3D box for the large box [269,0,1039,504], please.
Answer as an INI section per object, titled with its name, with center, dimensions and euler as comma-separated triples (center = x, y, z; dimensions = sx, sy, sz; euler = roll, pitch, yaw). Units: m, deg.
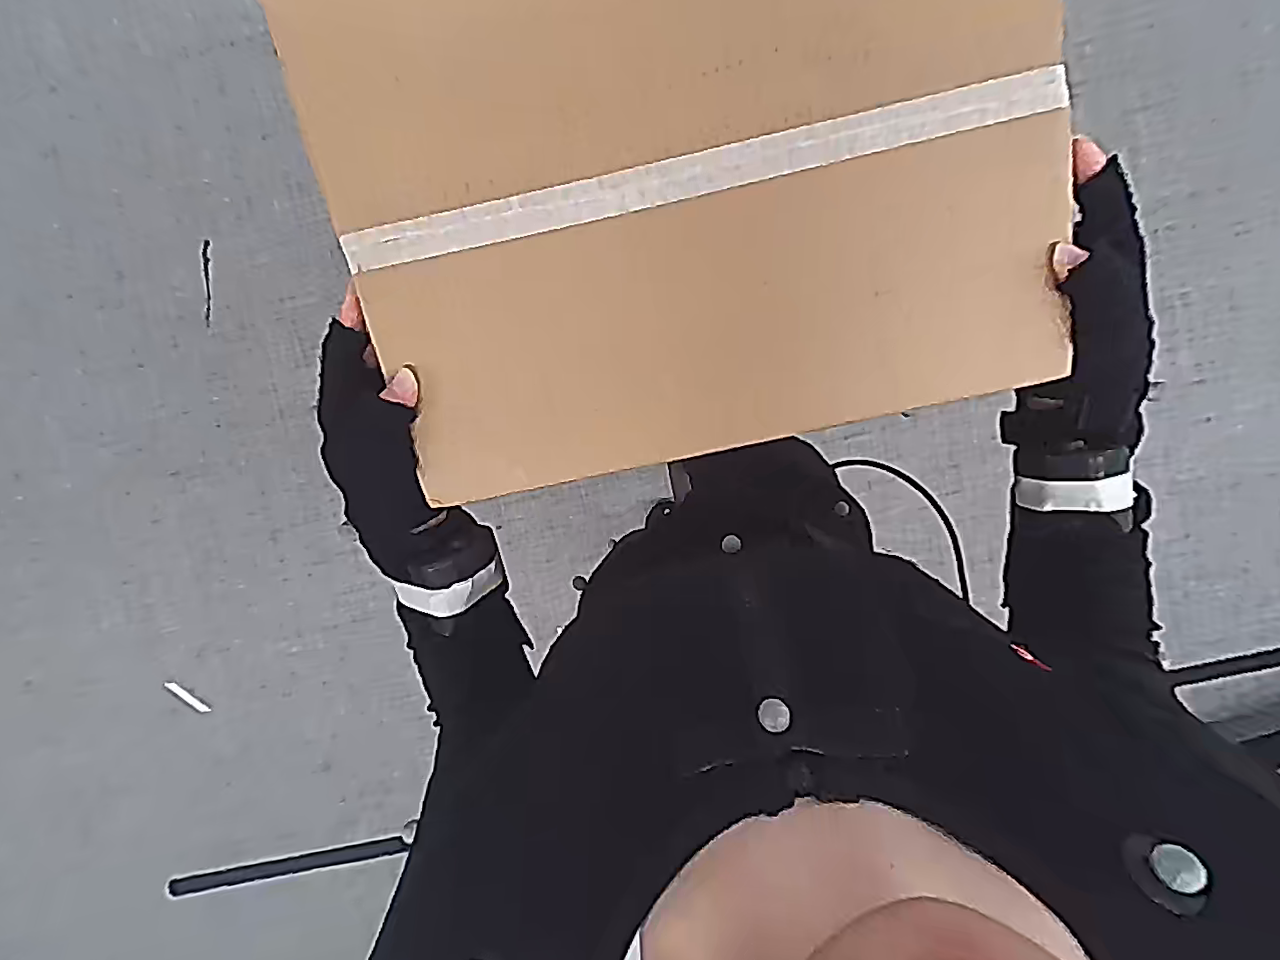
[large box]
center = 0.026, -0.209, 0.455
dimensions = 0.408, 0.320, 0.320
euler = -12, 104, 3
